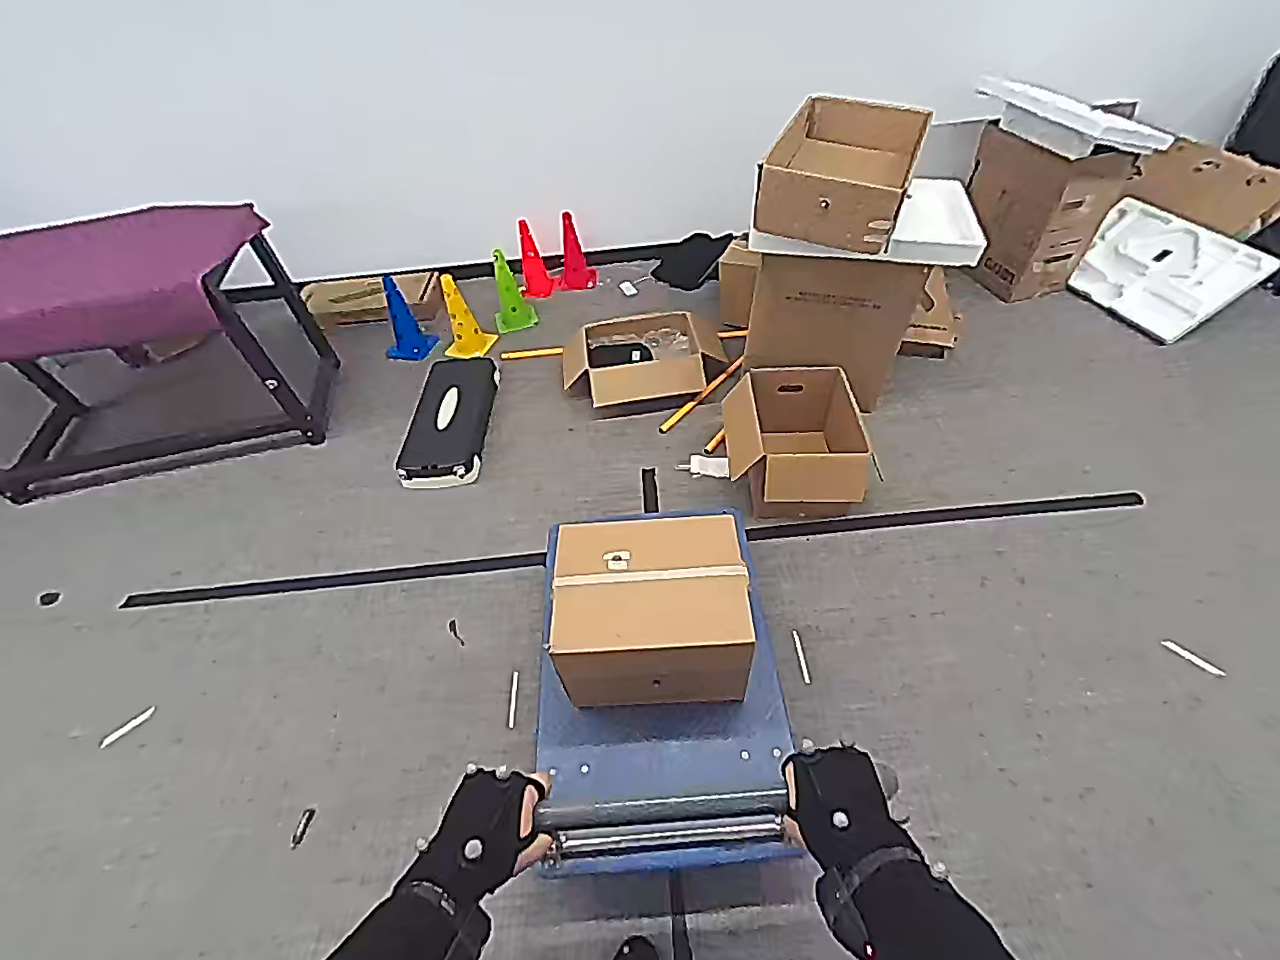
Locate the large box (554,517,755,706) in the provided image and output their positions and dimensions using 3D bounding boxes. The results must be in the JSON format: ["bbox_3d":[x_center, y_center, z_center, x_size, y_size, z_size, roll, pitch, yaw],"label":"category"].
[{"bbox_3d":[0.034,0.315,1.270,0.408,0.320,0.320,-5,47,2],"label":"large box"}]
